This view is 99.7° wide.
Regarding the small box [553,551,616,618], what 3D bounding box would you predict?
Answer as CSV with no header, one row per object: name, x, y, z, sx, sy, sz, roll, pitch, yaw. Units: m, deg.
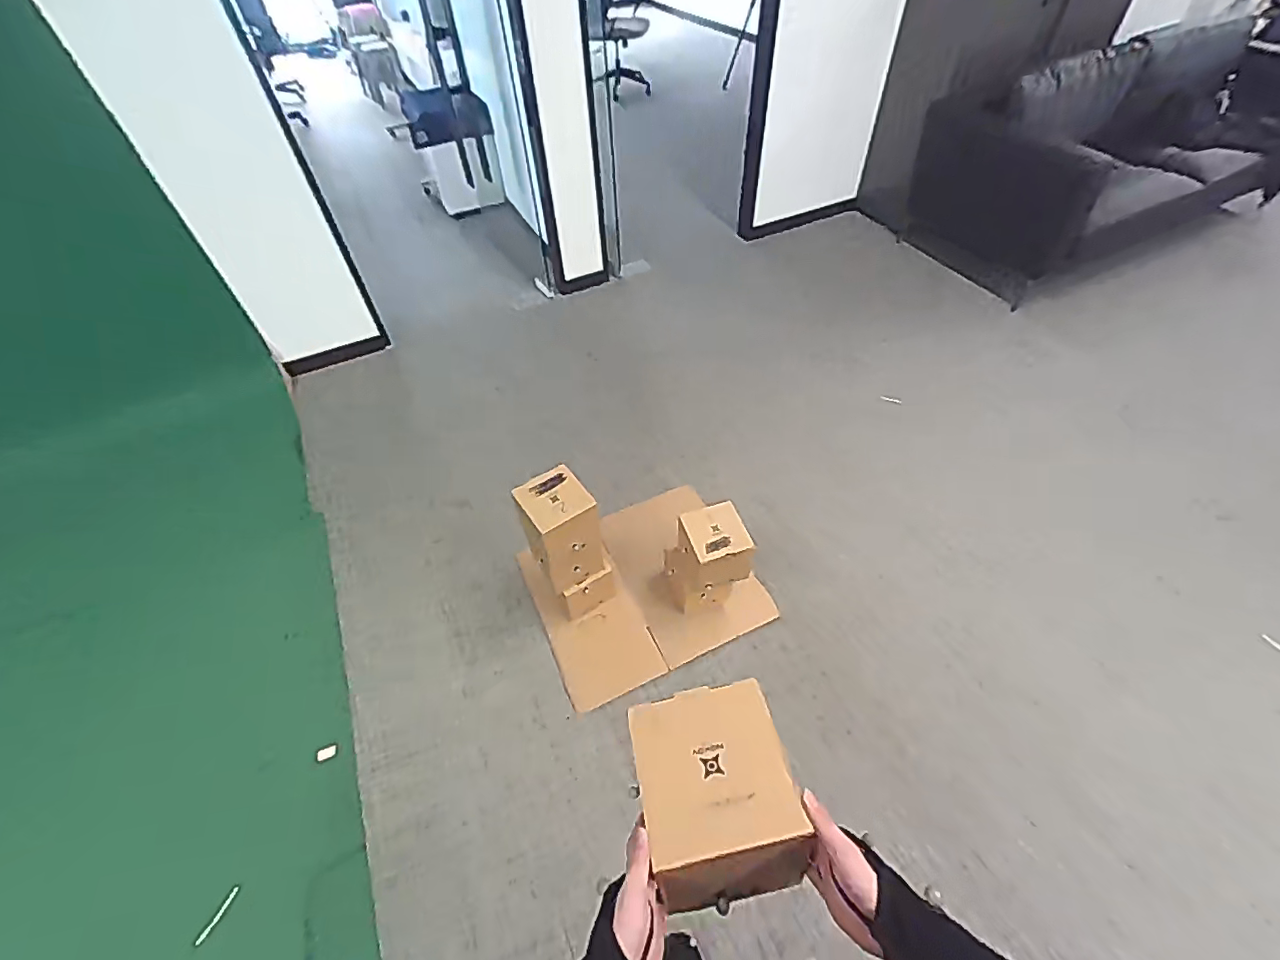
small box,-0.190,0.302,1.720,0.168,0.176,0.179,-28,54,-19

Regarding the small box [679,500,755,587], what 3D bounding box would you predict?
small box,0.218,0.192,1.574,0.168,0.176,0.179,-14,50,-9

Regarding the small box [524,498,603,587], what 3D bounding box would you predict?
small box,-0.221,0.194,1.598,0.168,0.176,0.179,-27,53,-19

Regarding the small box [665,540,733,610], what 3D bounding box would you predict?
small box,0.187,0.290,1.709,0.168,0.176,0.179,-18,50,-11

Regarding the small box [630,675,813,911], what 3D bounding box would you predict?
small box,0.086,0.366,0.638,0.168,0.176,0.179,-11,38,-3
